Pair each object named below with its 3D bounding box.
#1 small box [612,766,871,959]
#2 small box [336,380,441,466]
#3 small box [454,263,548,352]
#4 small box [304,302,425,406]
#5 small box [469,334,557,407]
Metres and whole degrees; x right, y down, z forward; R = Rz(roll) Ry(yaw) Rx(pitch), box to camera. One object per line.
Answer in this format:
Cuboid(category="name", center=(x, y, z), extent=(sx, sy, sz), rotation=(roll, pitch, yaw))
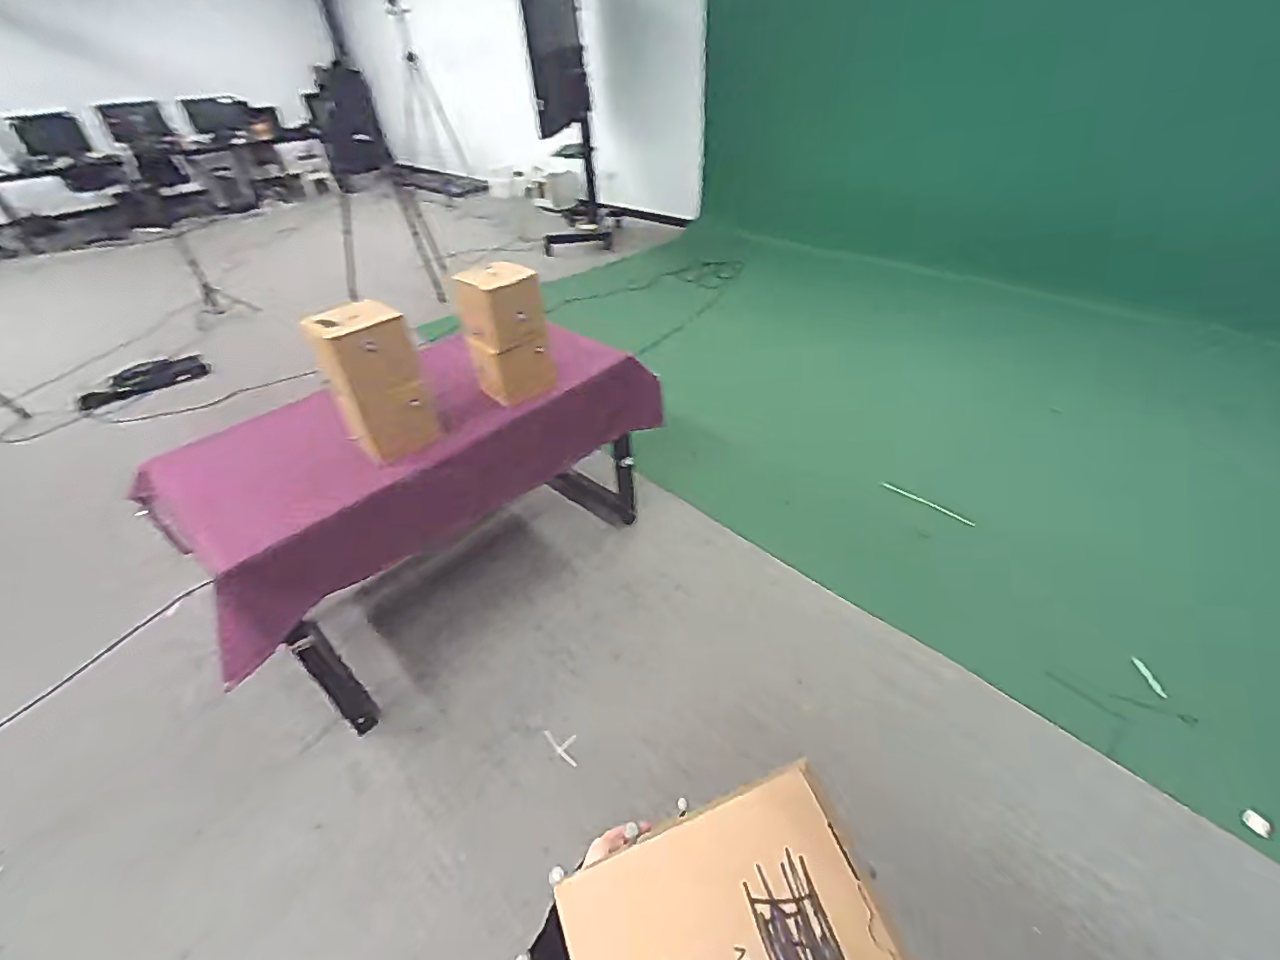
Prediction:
Cuboid(category="small box", center=(0.099, 0.384, 0.504), extent=(0.179, 0.176, 0.168), rotation=(-25, 60, 5))
Cuboid(category="small box", center=(-0.628, -0.166, 1.374), extent=(0.179, 0.176, 0.168), rotation=(-33, 46, -31))
Cuboid(category="small box", center=(-0.367, -0.463, 1.456), extent=(0.168, 0.176, 0.179), rotation=(-33, 47, -31))
Cuboid(category="small box", center=(-0.642, -0.297, 1.274), extent=(0.168, 0.176, 0.179), rotation=(29, 48, 34))
Cuboid(category="small box", center=(-0.360, -0.333, 1.558), extent=(0.179, 0.176, 0.168), rotation=(-30, 45, -29))
